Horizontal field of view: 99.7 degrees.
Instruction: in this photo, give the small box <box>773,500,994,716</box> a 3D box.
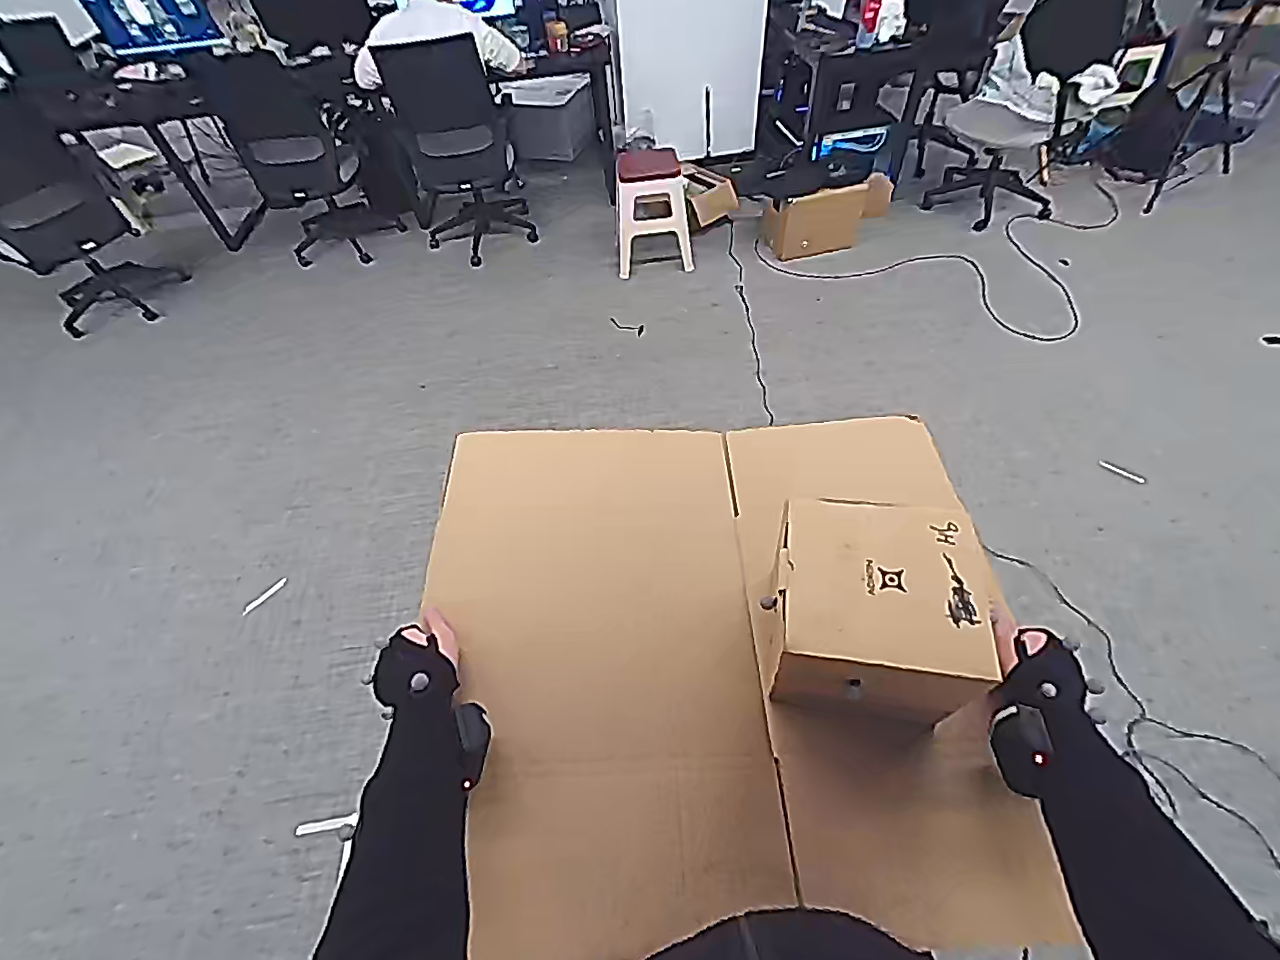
[{"bbox_3d":[0.236,0.139,0.574,0.179,0.176,0.168,4,56,12],"label":"small box"}]
